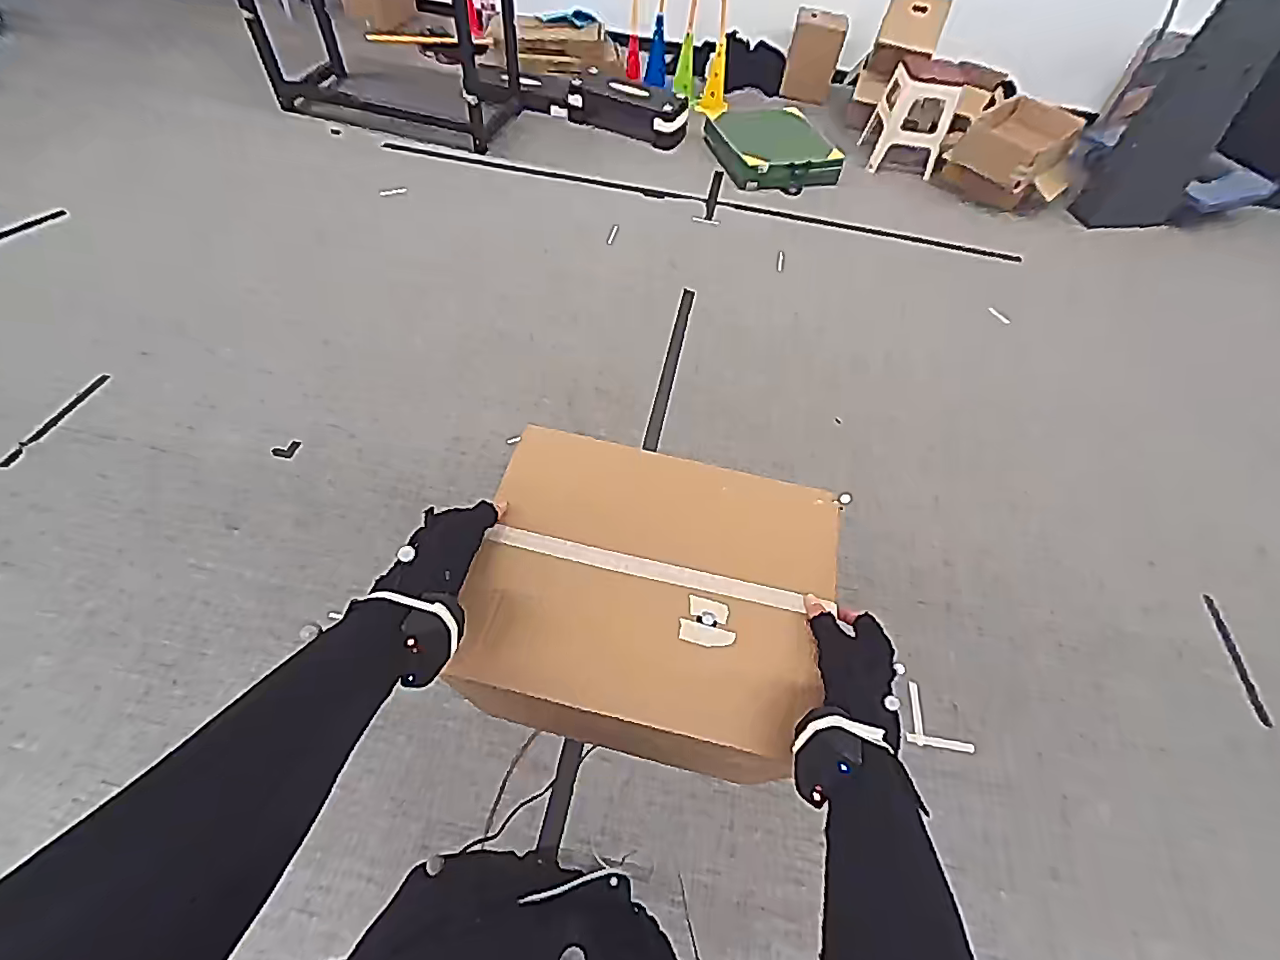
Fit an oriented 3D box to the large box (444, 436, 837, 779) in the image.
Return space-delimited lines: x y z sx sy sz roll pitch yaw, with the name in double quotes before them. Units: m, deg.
"large box" 0.012 0.186 0.741 0.408 0.320 0.320 13 59 4
